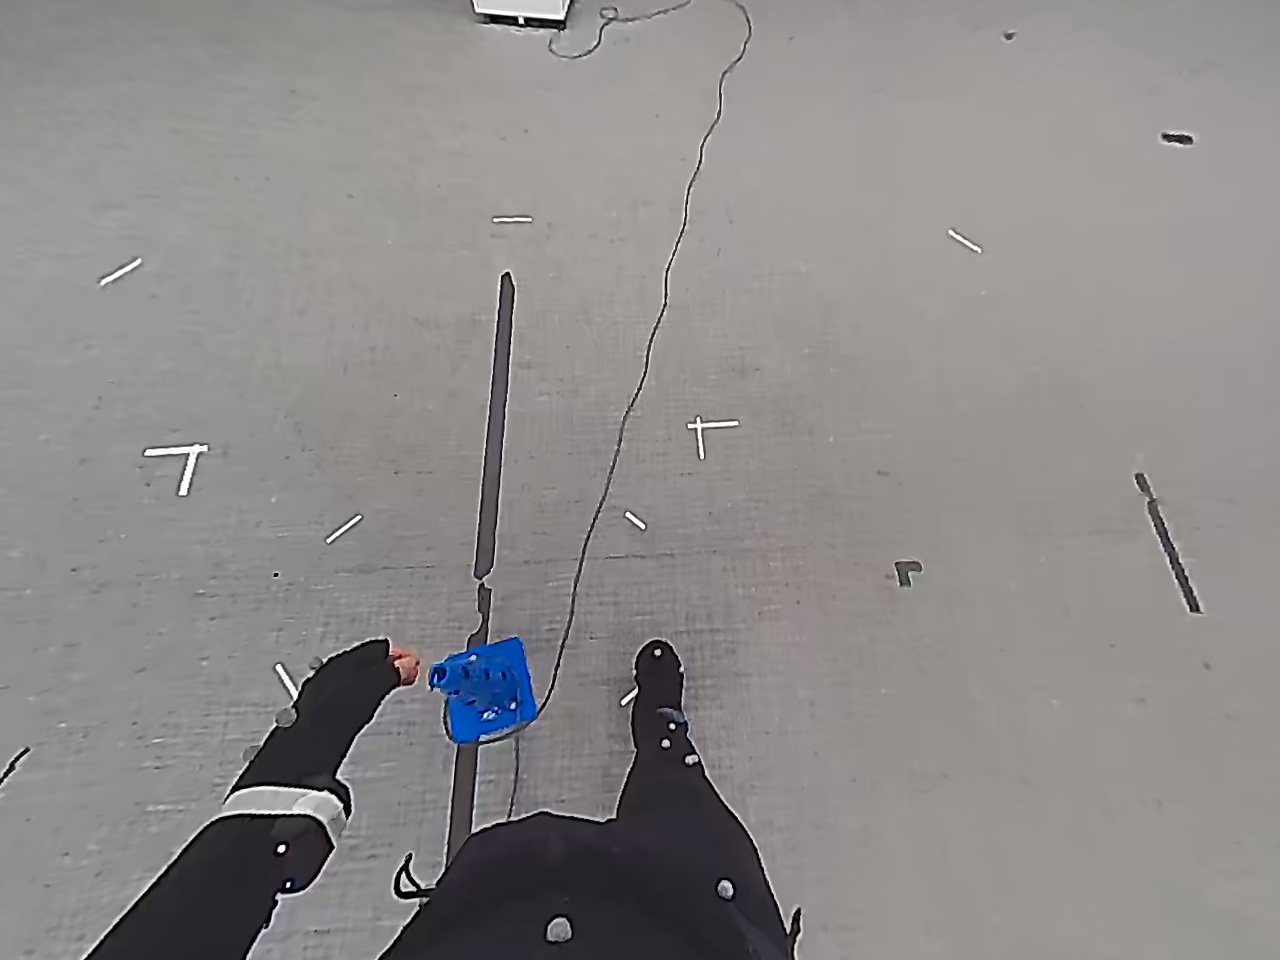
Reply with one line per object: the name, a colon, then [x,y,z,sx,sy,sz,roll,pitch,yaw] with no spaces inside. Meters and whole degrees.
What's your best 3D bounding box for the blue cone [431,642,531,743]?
blue cone: [-0.362,0.424,1.127,0.193,0.380,0.192,-16,66,-9]
